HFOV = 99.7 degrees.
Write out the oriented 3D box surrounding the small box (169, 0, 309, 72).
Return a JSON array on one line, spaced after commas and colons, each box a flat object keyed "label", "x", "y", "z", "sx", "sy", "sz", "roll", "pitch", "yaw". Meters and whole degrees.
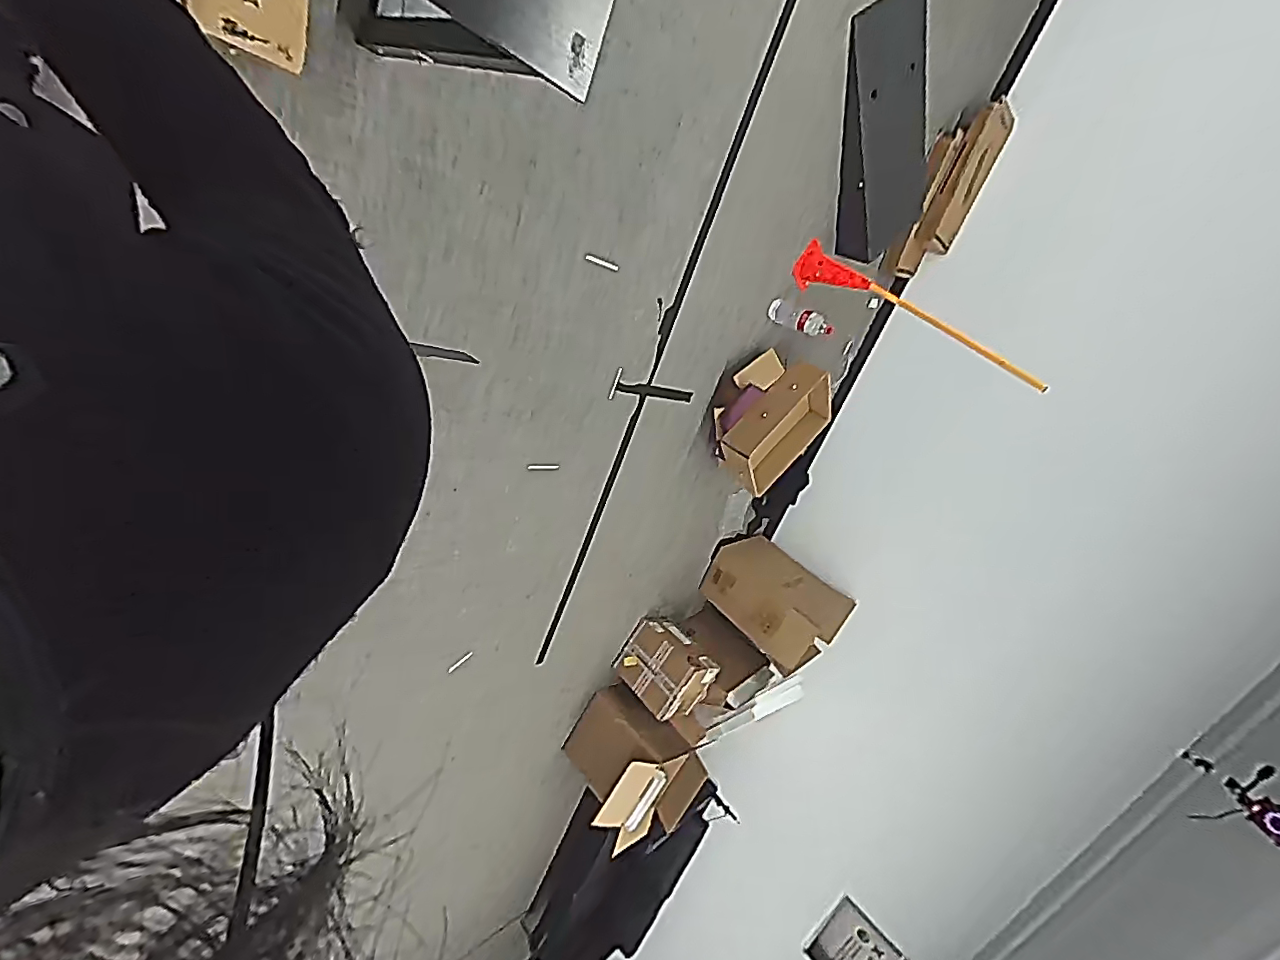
[{"label": "small box", "x": -0.691, "y": -0.847, "z": 0.932, "sx": 0.168, "sy": 0.176, "sz": 0.179, "roll": -3, "pitch": 122, "yaw": -48}]
